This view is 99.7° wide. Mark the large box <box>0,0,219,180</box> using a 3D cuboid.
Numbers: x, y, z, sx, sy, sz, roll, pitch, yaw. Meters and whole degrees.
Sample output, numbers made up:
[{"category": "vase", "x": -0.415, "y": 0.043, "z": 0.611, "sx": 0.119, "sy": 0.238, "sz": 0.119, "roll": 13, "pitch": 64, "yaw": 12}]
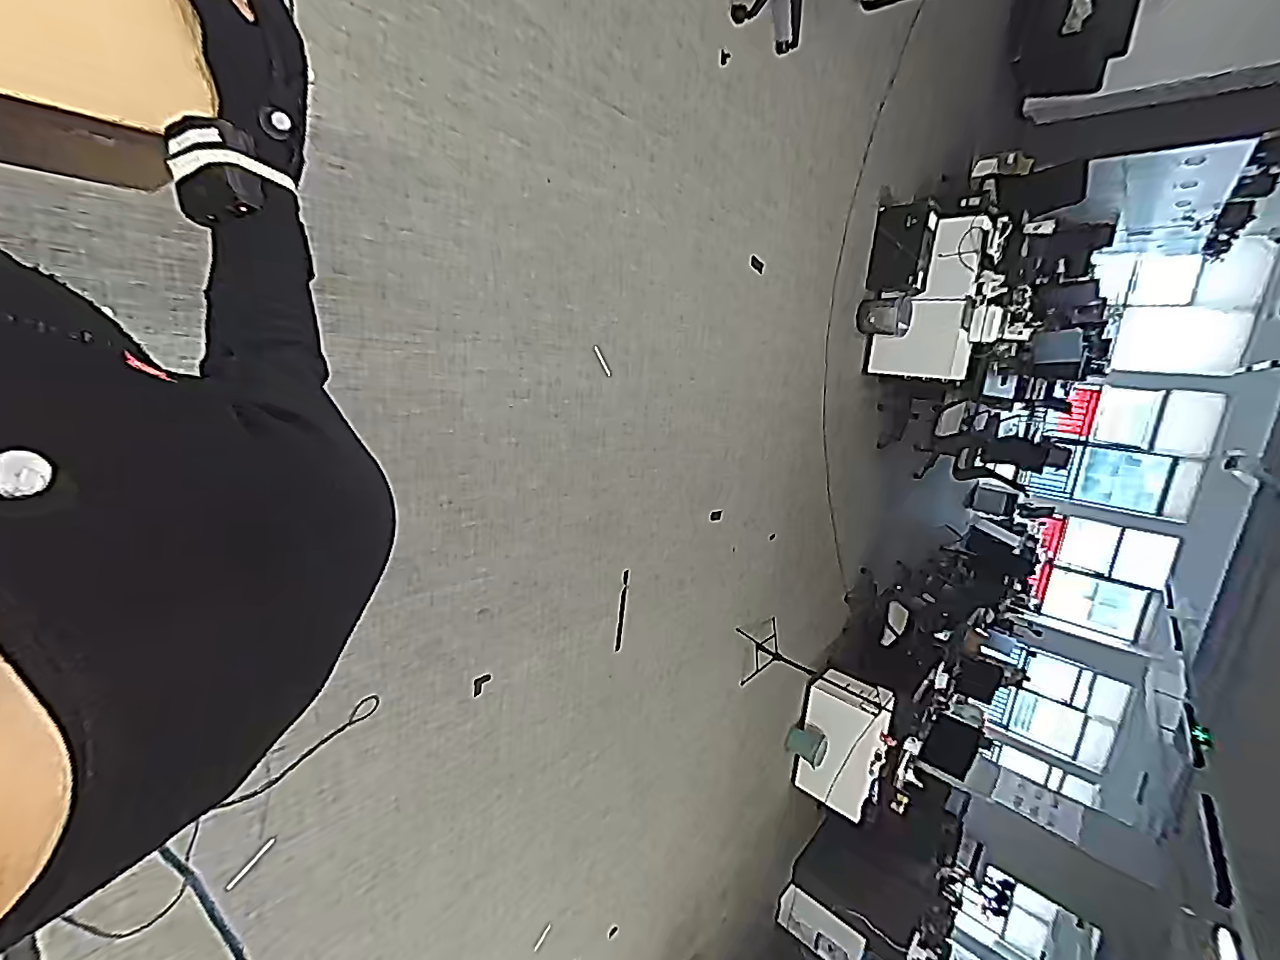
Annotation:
[{"category": "large box", "x": -0.578, "y": -0.427, "z": 0.350, "sx": 0.408, "sy": 0.320, "sz": 0.320, "roll": -13, "pitch": 113, "yaw": -48}]
